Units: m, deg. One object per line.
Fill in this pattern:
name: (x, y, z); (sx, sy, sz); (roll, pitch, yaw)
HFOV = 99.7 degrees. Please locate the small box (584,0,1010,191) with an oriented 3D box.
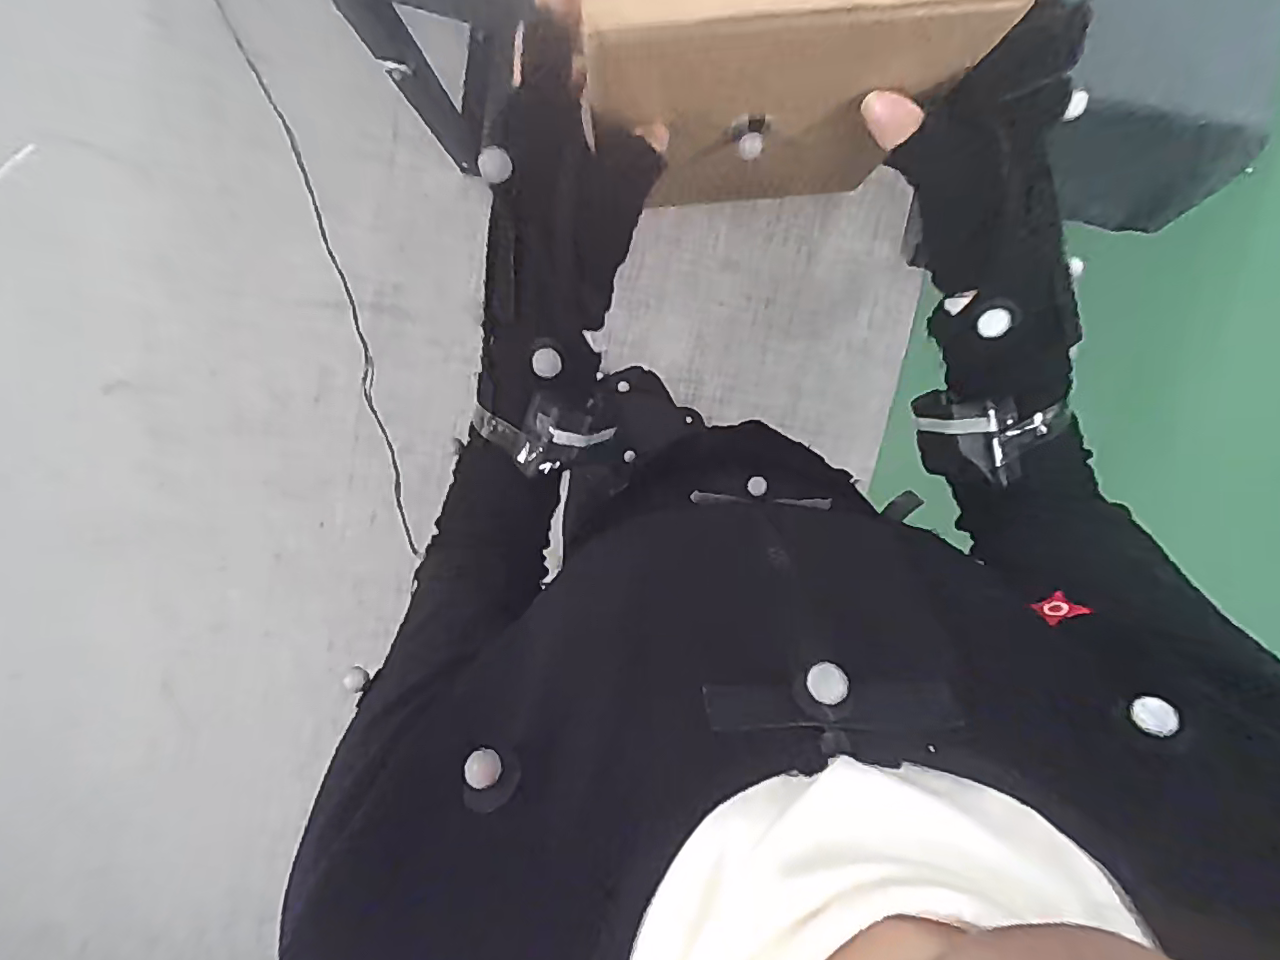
small box: (0.057, -0.274, 0.281); (0.179, 0.176, 0.168); (-5, 95, -1)
